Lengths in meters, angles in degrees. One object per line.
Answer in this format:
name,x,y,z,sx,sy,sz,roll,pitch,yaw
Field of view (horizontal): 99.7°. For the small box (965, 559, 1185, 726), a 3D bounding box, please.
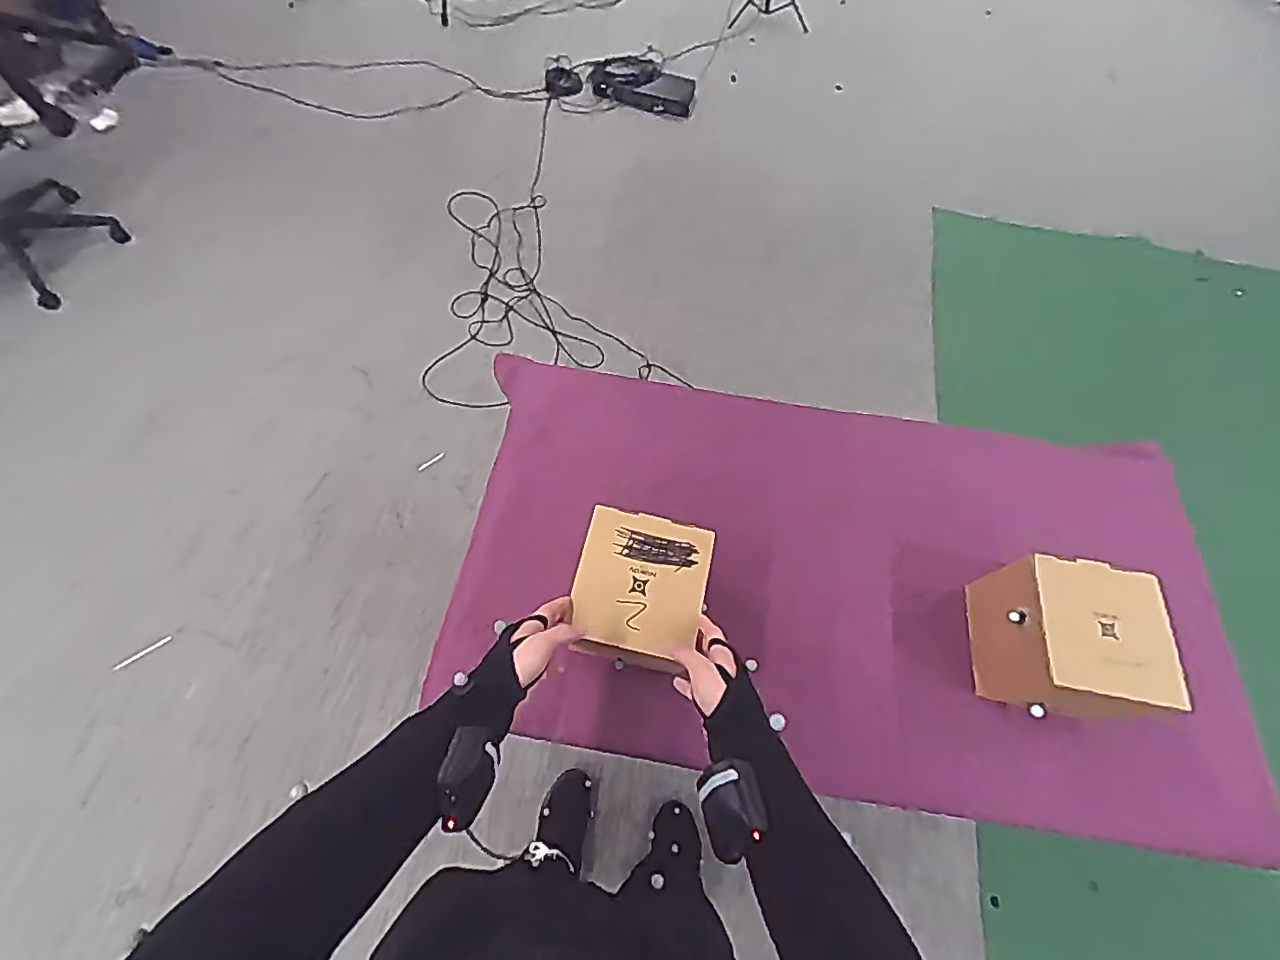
small box,0.588,0.234,0.762,0.168,0.176,0.179,11,63,4
